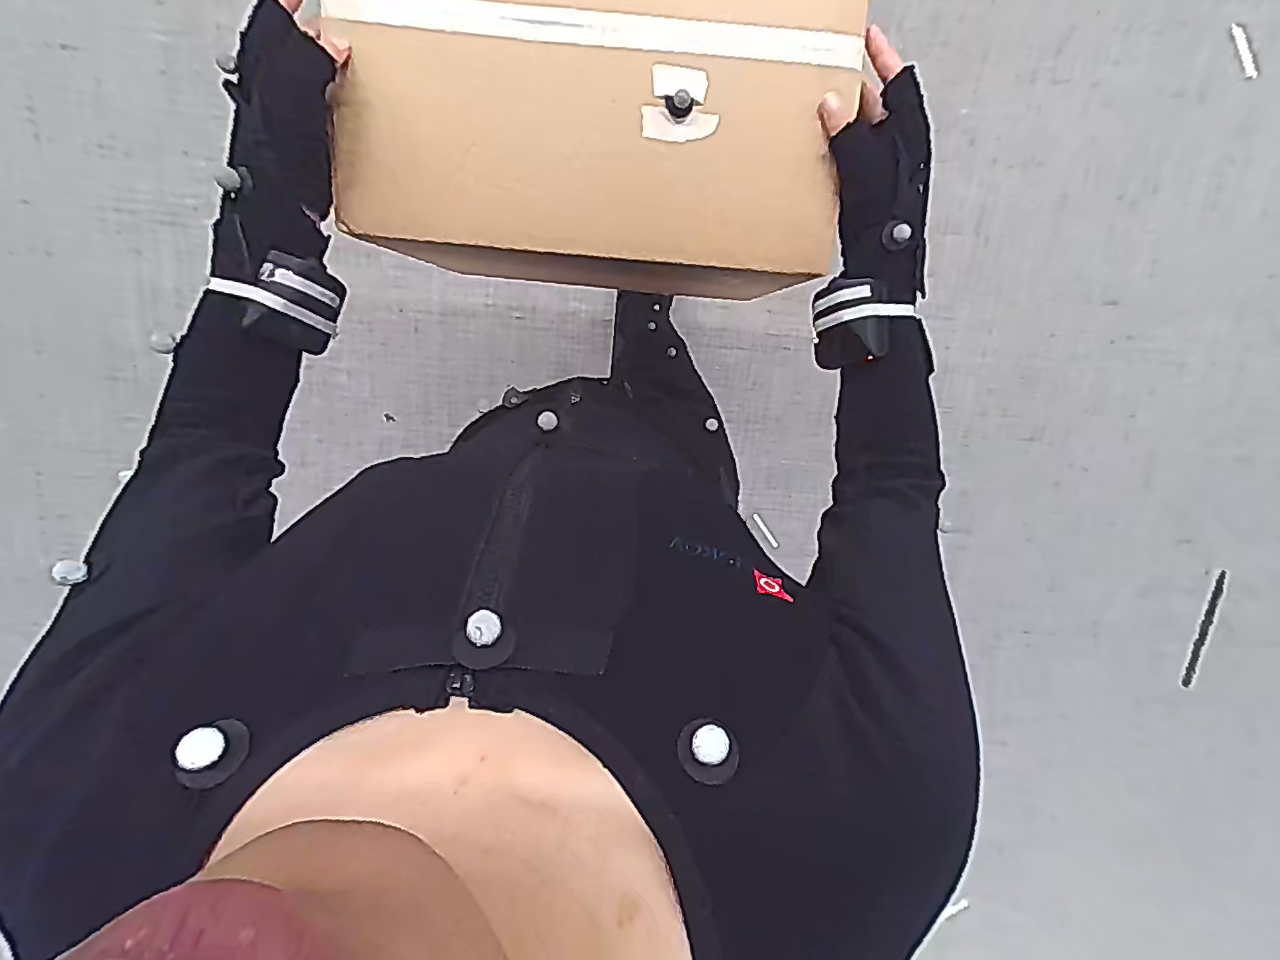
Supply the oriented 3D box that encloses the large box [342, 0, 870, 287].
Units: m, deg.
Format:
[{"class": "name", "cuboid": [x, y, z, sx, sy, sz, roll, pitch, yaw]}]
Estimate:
[{"class": "large box", "cuboid": [-0.030, -0.385, 0.554, 0.408, 0.320, 0.320, 4, 106, -2]}]
